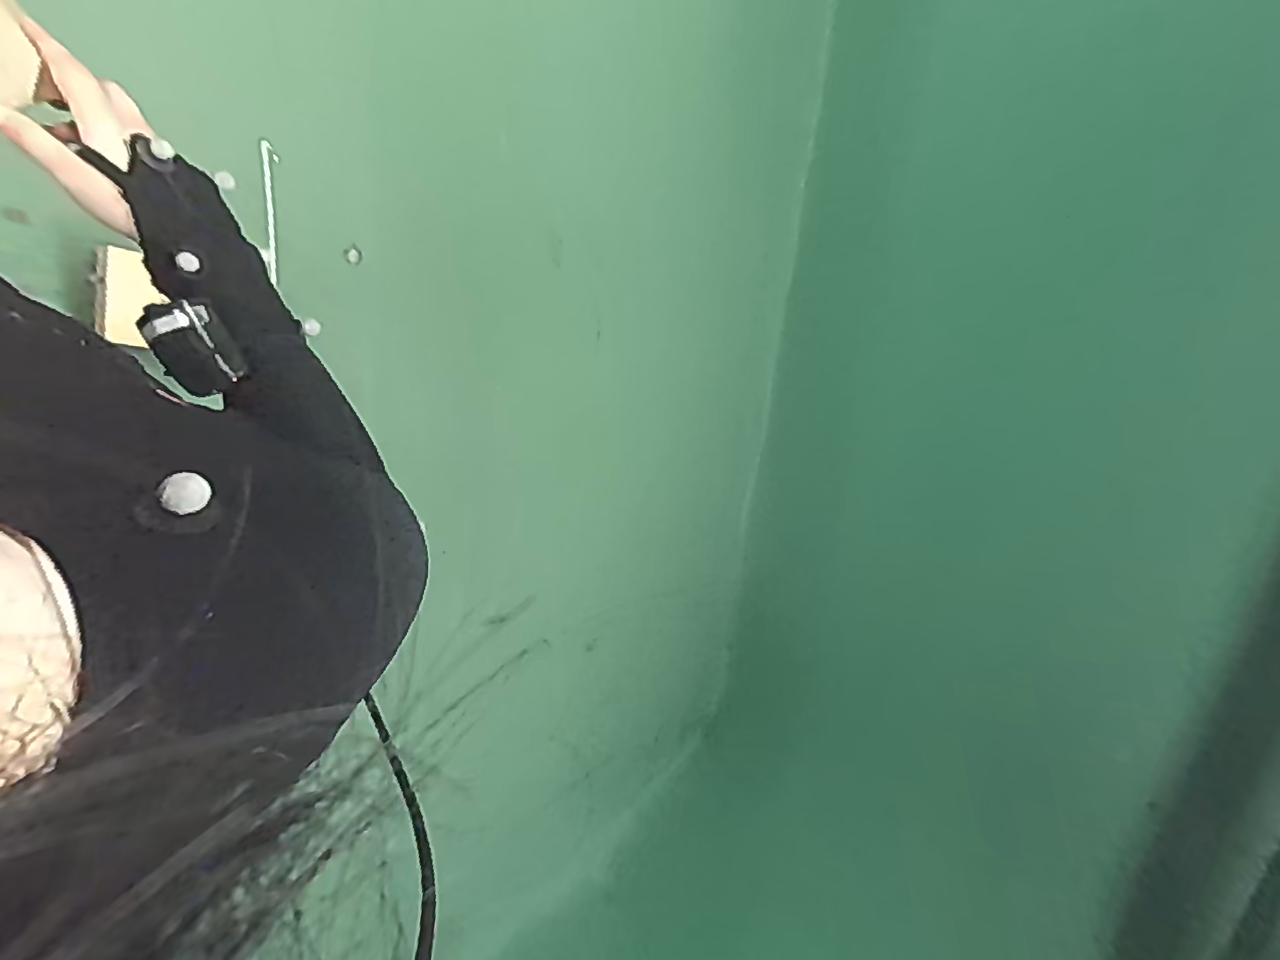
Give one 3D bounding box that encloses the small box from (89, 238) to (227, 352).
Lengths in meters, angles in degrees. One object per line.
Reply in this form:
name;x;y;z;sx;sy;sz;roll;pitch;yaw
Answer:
small box;-0.932;-0.351;1.044;0.179;0.176;0.168;0;105;-51
